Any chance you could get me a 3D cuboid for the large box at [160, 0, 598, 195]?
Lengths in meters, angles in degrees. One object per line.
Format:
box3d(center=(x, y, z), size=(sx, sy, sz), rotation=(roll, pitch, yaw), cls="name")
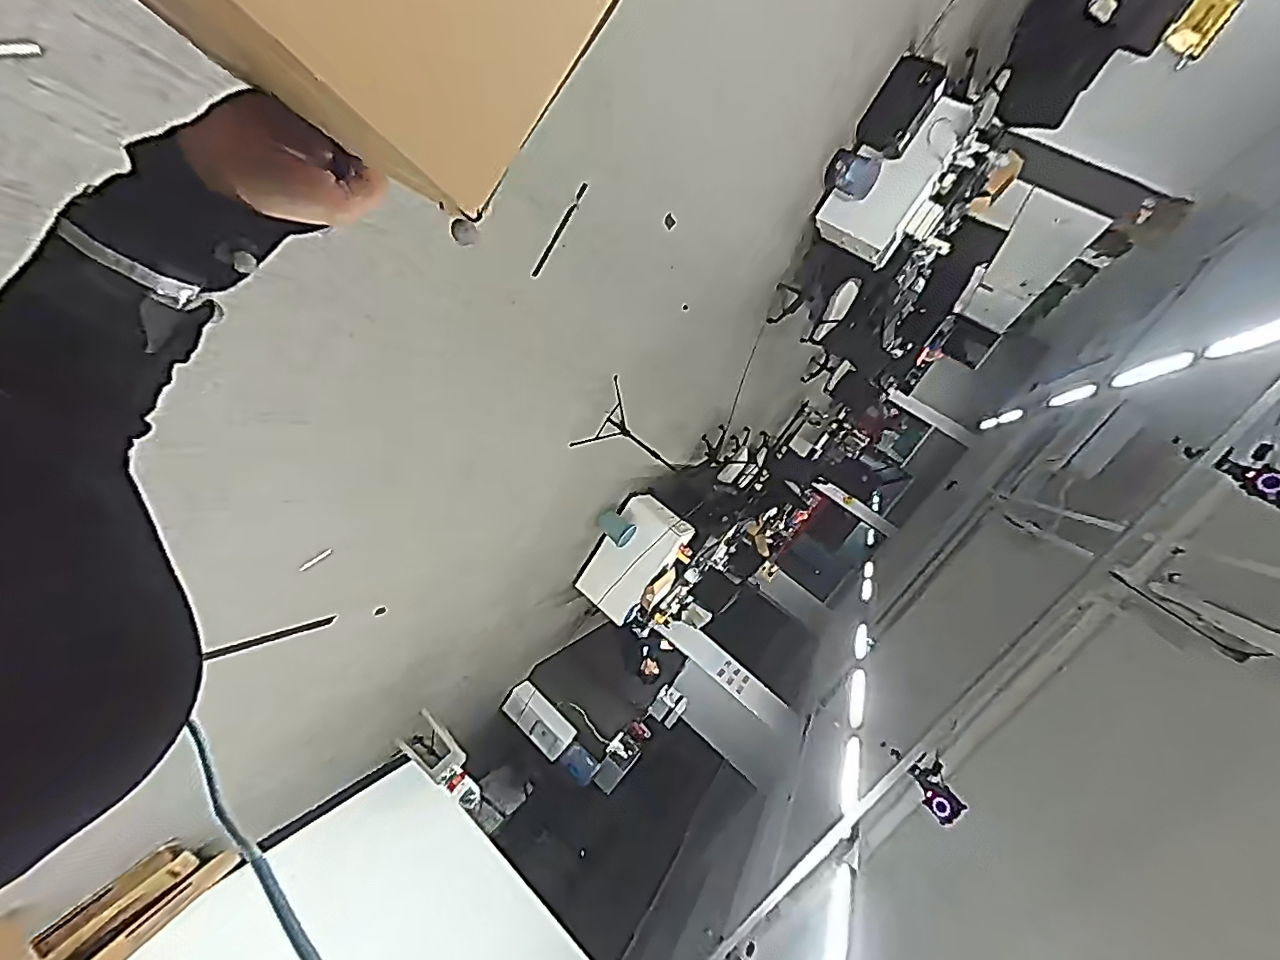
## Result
box3d(center=(-0.175, -0.366, 0.113), size=(0.320, 0.320, 0.408), rotation=(-53, 157, 8), cls="large box")
